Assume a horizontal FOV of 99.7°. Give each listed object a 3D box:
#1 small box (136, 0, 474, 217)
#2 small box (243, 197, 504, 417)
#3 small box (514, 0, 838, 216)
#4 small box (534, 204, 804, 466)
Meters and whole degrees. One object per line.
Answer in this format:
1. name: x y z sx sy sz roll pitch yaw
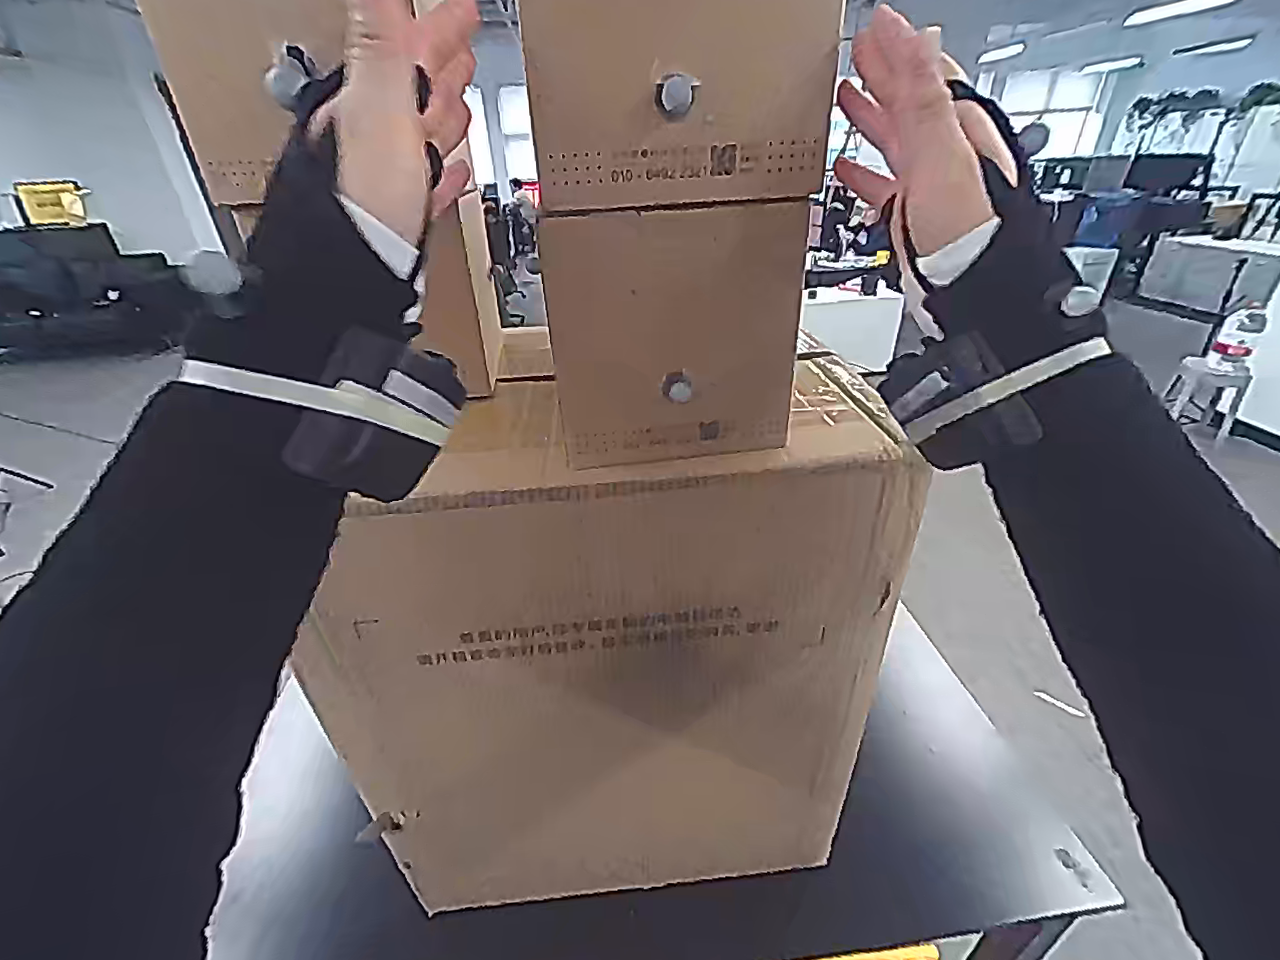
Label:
1. small box: -0.238 -0.308 0.430 0.168 0.176 0.179 -6 31 -6
2. small box: -0.231 -0.174 0.527 0.168 0.176 0.179 -7 31 -7
3. small box: 0.011 -0.266 0.342 0.168 0.176 0.179 -6 31 -4
4. small box: 0.013 -0.128 0.431 0.168 0.176 0.179 -7 31 -5
